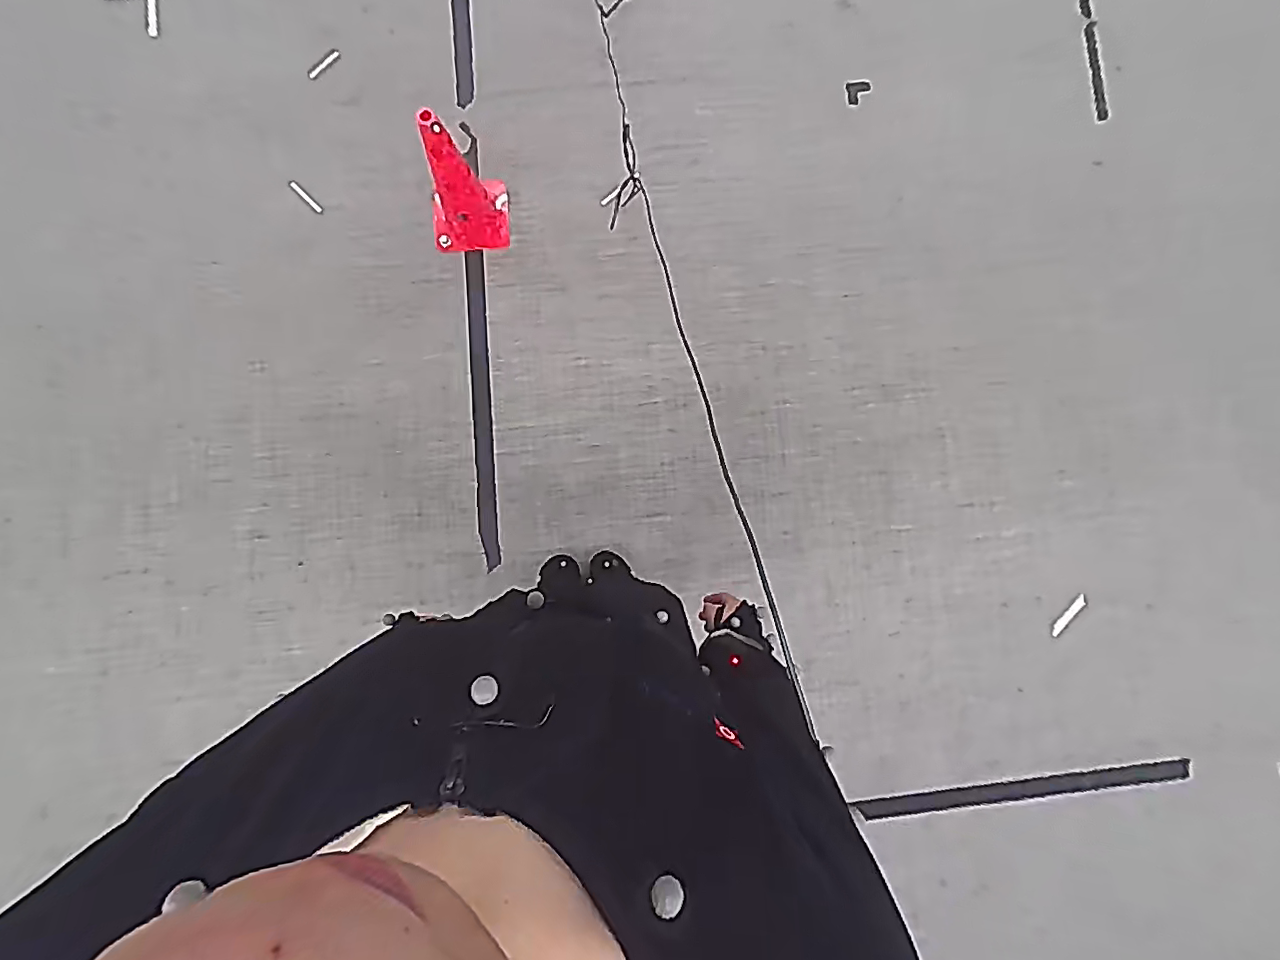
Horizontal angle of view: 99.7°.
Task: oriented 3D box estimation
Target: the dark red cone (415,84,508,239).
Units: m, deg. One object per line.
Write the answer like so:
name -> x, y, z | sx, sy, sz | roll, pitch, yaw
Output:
dark red cone -> -0.449, -0.757, 1.282 | 0.201, 0.394, 0.202 | -5, 84, -4
